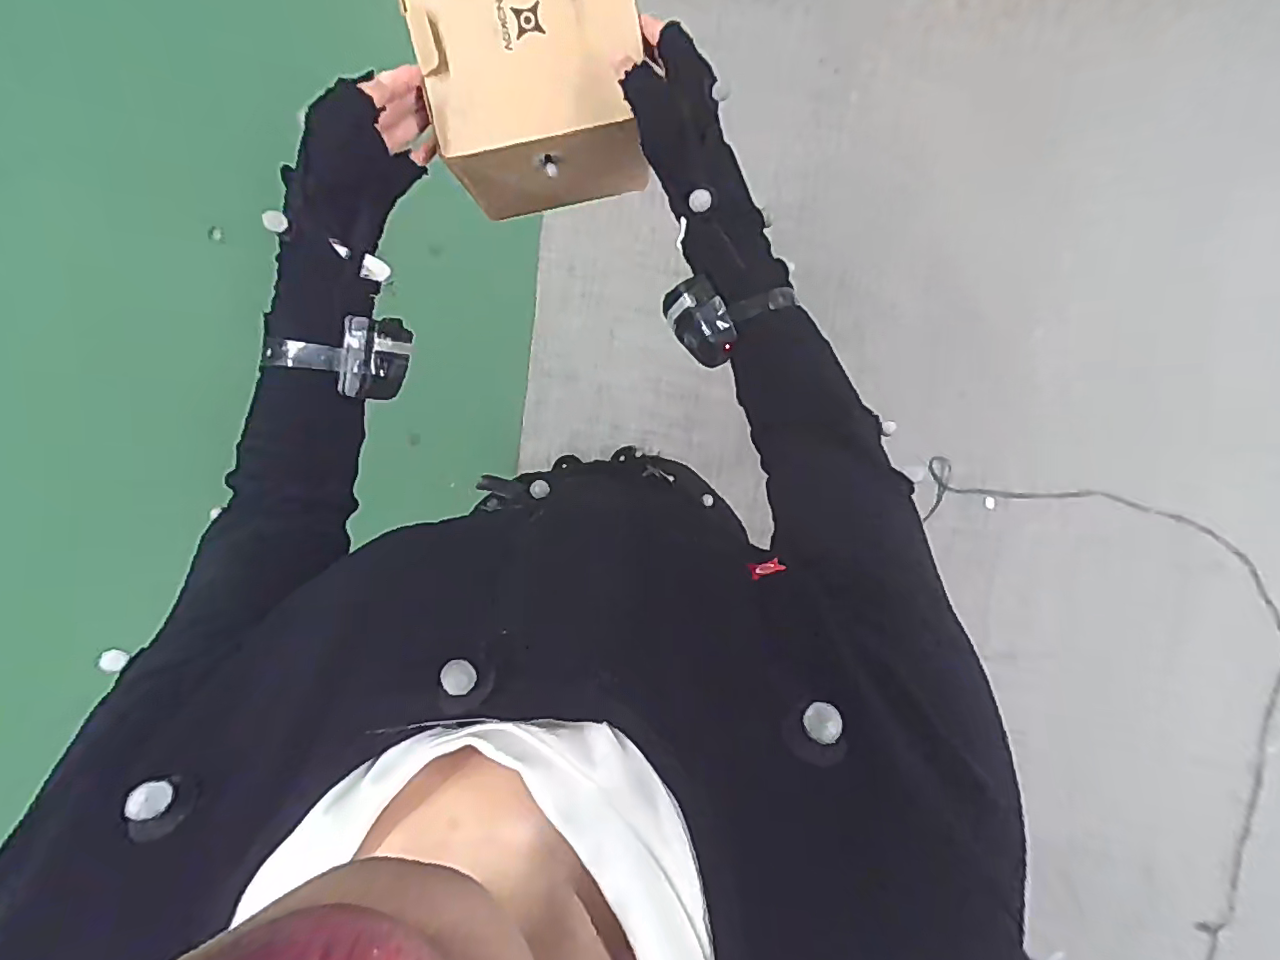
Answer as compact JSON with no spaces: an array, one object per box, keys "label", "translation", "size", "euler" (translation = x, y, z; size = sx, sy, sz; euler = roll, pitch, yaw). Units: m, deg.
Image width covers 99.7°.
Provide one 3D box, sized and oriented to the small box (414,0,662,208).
[{"label":"small box","translation":[-0.083,-0.369,0.491],"size":[0.179,0.176,0.168],"euler":[-12,101,0]}]
